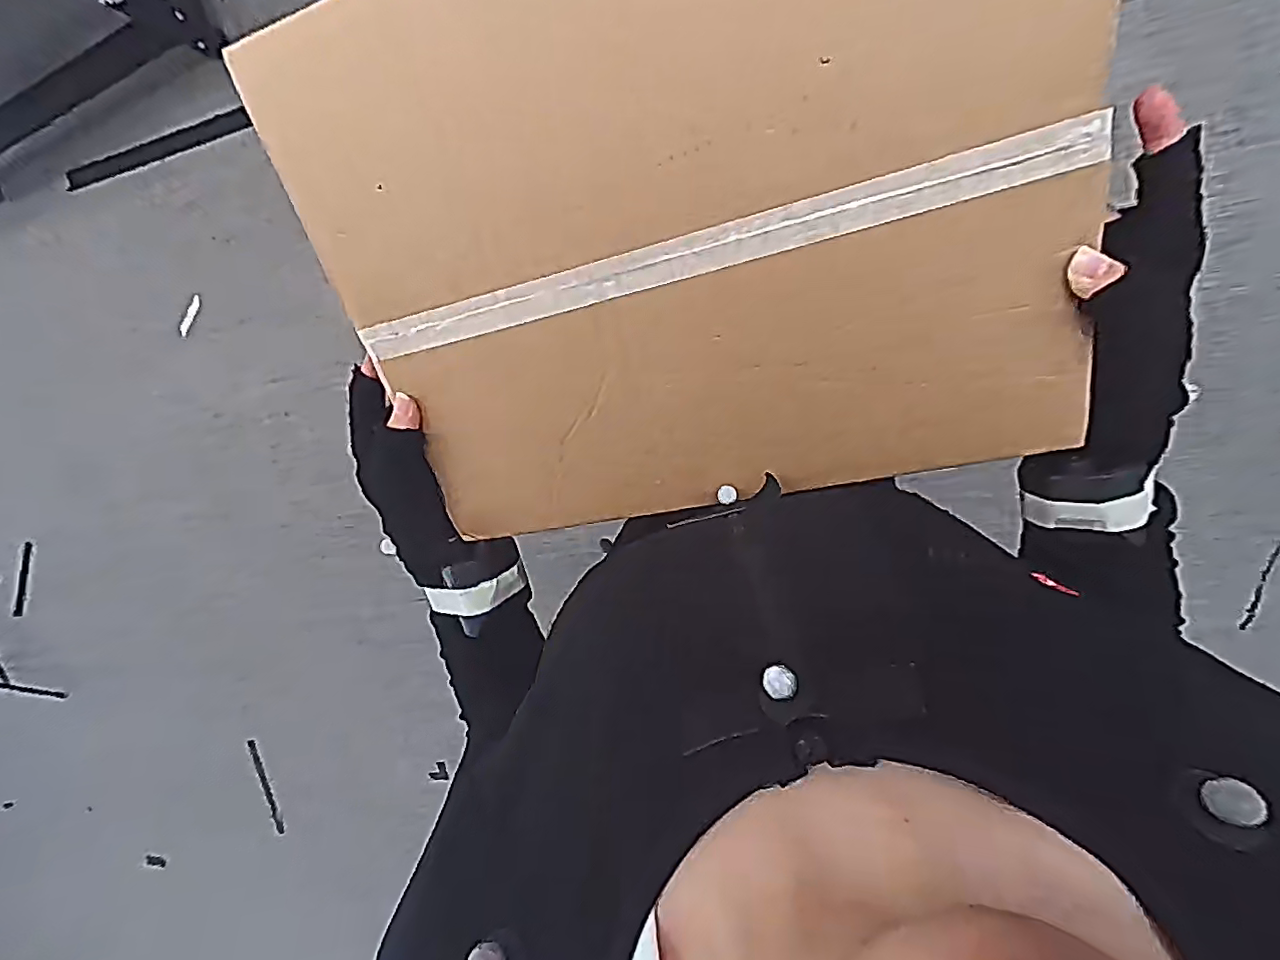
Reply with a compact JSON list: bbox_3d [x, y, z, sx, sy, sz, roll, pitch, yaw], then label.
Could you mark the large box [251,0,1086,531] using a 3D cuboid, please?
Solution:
[{"bbox_3d":[0.040,-0.197,0.431,0.408,0.320,0.320,-10,116,15],"label":"large box"}]
